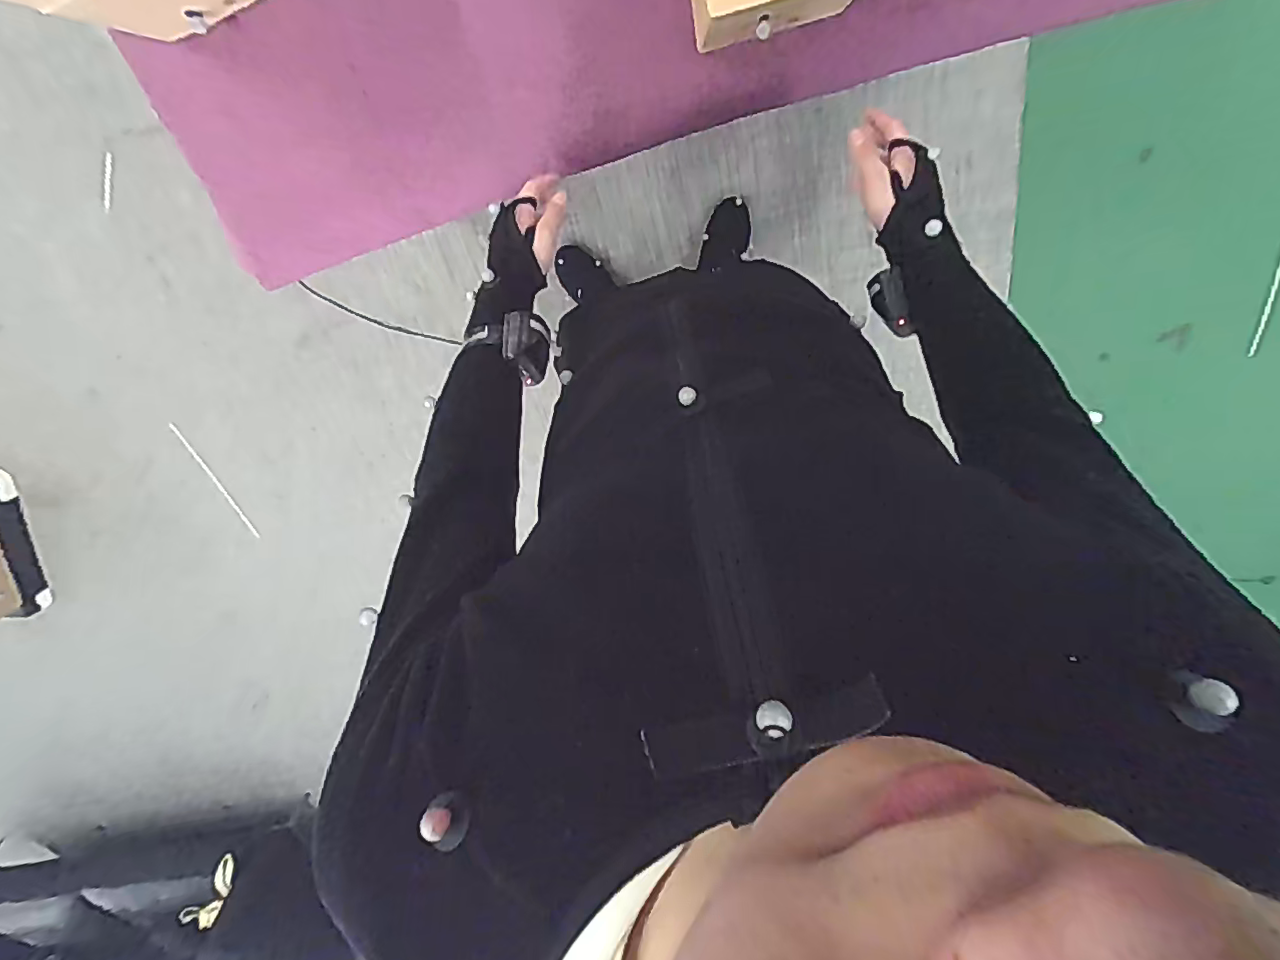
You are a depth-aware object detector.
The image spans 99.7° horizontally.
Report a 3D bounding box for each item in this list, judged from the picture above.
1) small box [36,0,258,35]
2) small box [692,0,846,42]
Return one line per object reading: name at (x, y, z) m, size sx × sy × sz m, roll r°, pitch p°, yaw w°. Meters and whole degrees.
small box at (-0.511, -0.576, 0.521) m, size 0.168 × 0.176 × 0.179 m, roll -14°, pitch 120°, yaw 11°
small box at (0.125, -0.546, 0.509) m, size 0.168 × 0.176 × 0.179 m, roll -10°, pitch 118°, yaw 9°
